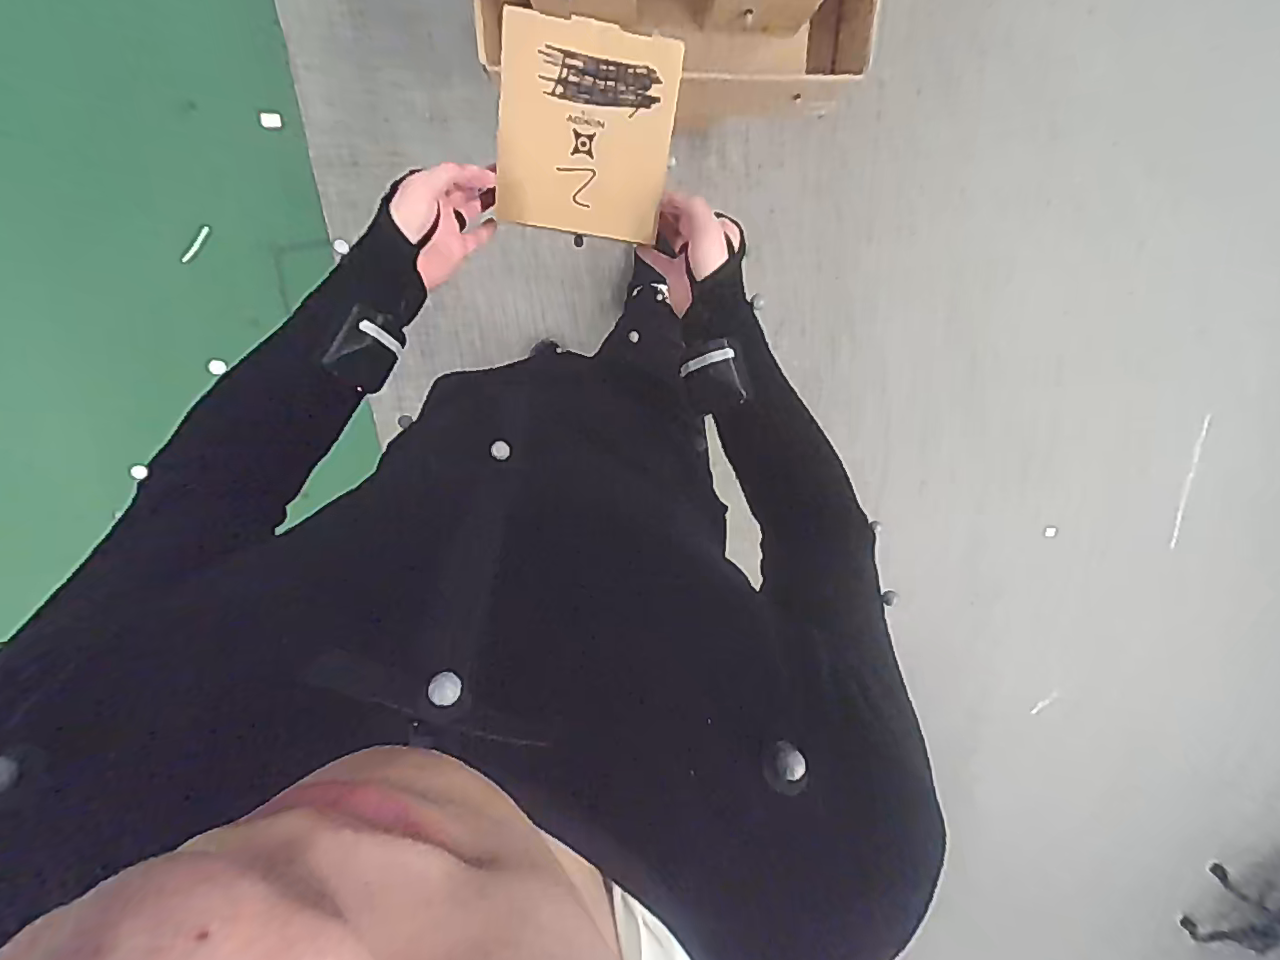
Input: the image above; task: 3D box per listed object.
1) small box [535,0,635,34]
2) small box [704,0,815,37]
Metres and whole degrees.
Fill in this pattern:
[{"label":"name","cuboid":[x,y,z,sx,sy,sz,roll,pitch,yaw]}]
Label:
[{"label":"small box","cuboid":[-0.085,-0.825,0.820,0.168,0.176,0.179,3,110,-2]},{"label":"small box","cuboid":[0.193,-0.821,0.835,0.168,0.176,0.179,0,110,-2]}]
